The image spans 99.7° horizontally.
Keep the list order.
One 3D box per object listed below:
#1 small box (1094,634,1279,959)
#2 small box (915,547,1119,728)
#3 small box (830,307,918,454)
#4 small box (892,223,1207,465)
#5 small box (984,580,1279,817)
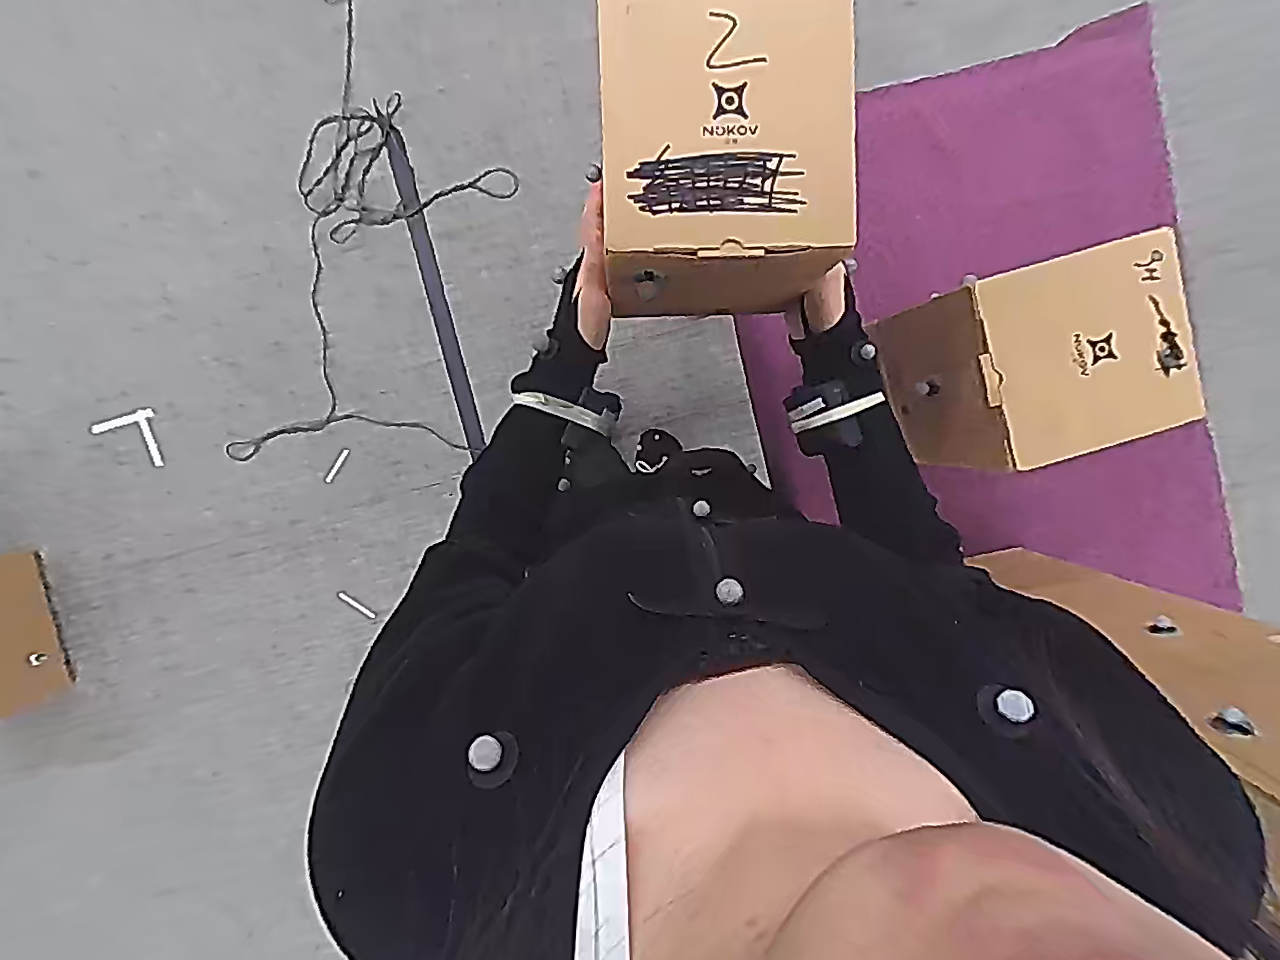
[{"bbox_3d":[0.486,0.237,0.401,0.179,0.176,0.168,-15,96,-1],"label":"small box"},{"bbox_3d":[0.494,0.198,0.725,0.179,0.176,0.168,-11,96,-1],"label":"small box"},{"bbox_3d":[0.360,-0.131,0.692,0.179,0.176,0.168,-13,96,-1],"label":"small box"},{"bbox_3d":[0.373,-0.118,0.529,0.179,0.176,0.168,-17,96,0],"label":"small box"},{"bbox_3d":[0.503,0.215,0.562,0.179,0.176,0.168,-12,95,0],"label":"small box"}]
